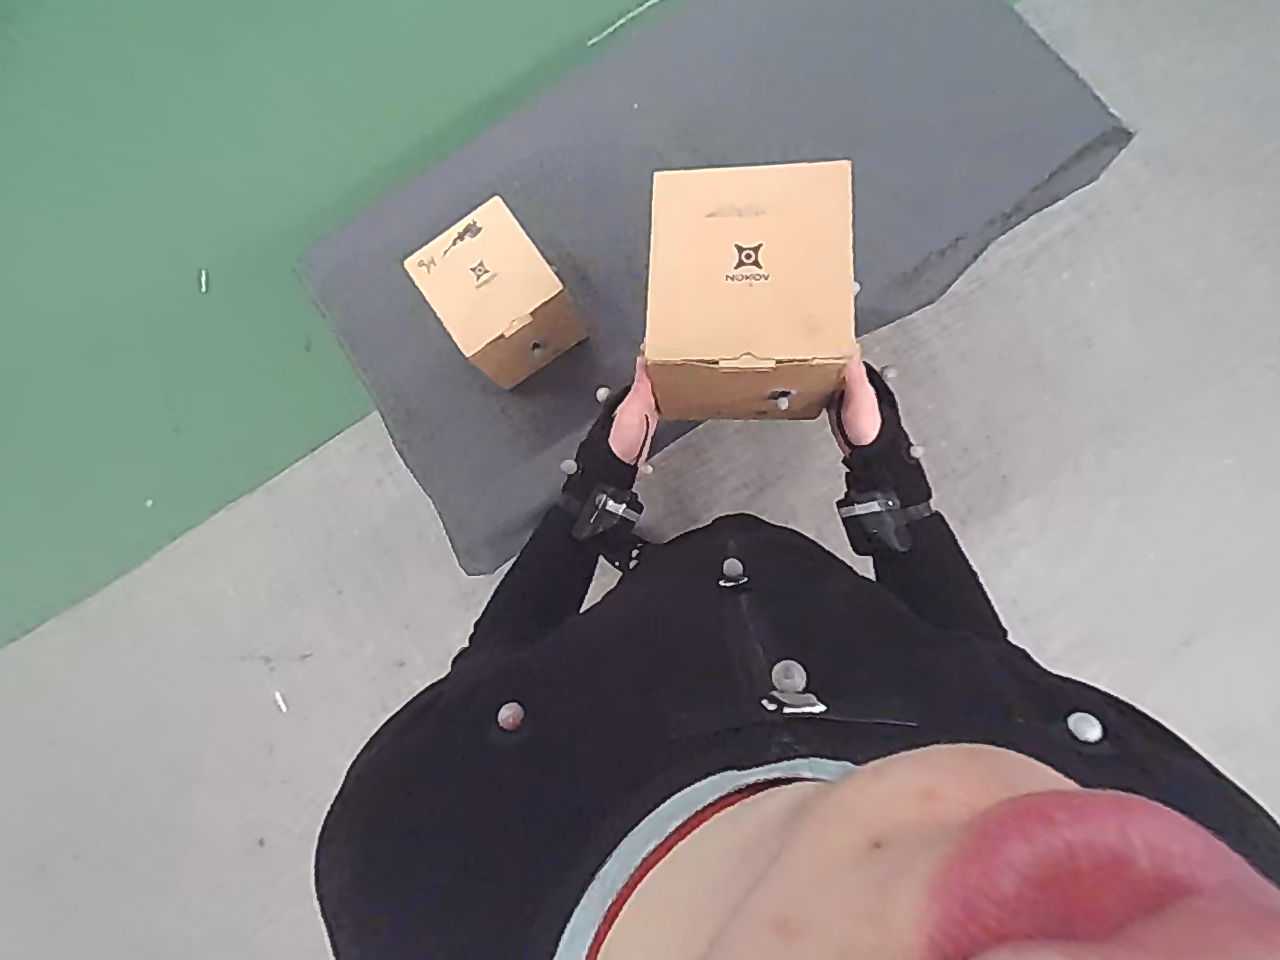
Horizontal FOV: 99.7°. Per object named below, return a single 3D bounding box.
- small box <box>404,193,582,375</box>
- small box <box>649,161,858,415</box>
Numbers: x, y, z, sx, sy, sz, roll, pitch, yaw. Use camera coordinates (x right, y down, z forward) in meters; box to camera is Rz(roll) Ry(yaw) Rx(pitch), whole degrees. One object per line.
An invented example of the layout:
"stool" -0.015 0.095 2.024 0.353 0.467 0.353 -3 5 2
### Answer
"small box" -0.207 -0.277 0.818 0.168 0.176 0.179 -35 84 0
"small box" 0.102 -0.165 0.518 0.168 0.176 0.179 1 80 7
